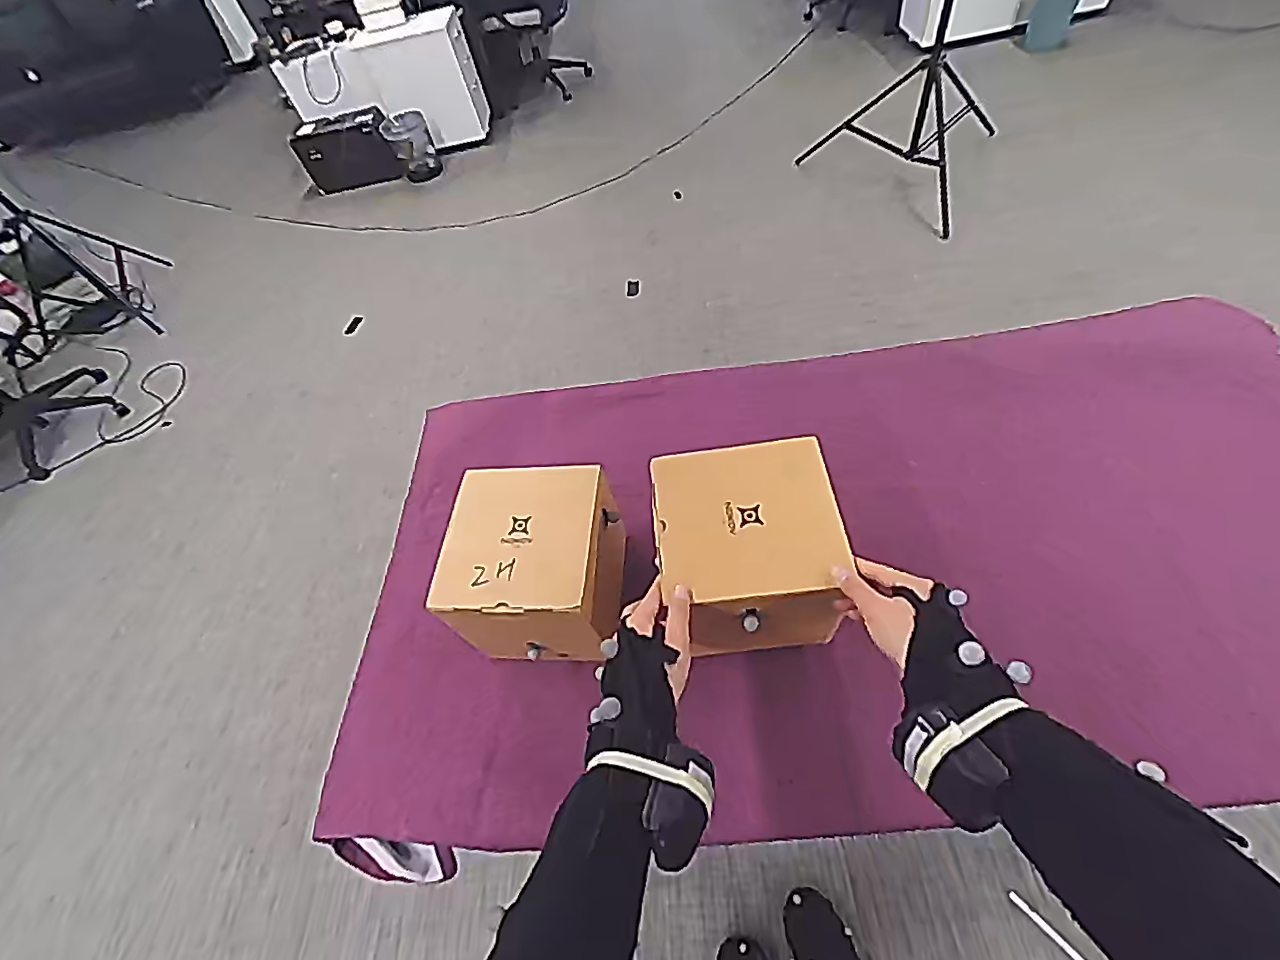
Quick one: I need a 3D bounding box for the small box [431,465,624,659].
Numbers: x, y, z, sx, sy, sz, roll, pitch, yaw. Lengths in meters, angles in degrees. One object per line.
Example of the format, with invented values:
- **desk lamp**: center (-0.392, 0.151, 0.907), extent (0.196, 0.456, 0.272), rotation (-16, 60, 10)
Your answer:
- **small box**: center (-0.117, 0.101, 0.651), extent (0.168, 0.176, 0.179), rotation (-2, 55, 9)
